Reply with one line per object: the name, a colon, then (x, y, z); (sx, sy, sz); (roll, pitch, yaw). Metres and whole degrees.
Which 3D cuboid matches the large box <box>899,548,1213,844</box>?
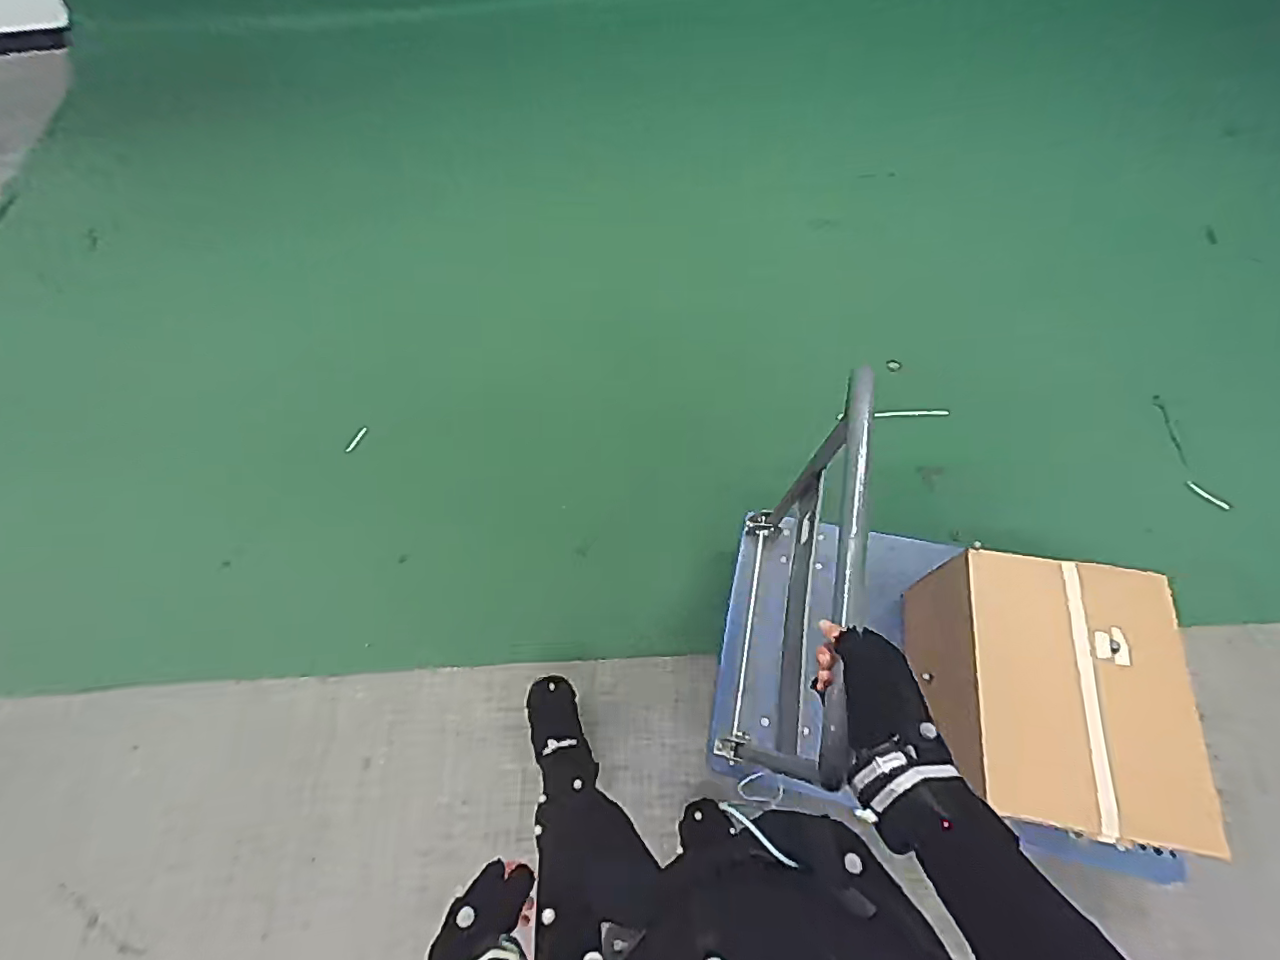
large box: (0.687, 0.381, 0.984); (0.320, 0.320, 0.408); (8, 64, 7)
